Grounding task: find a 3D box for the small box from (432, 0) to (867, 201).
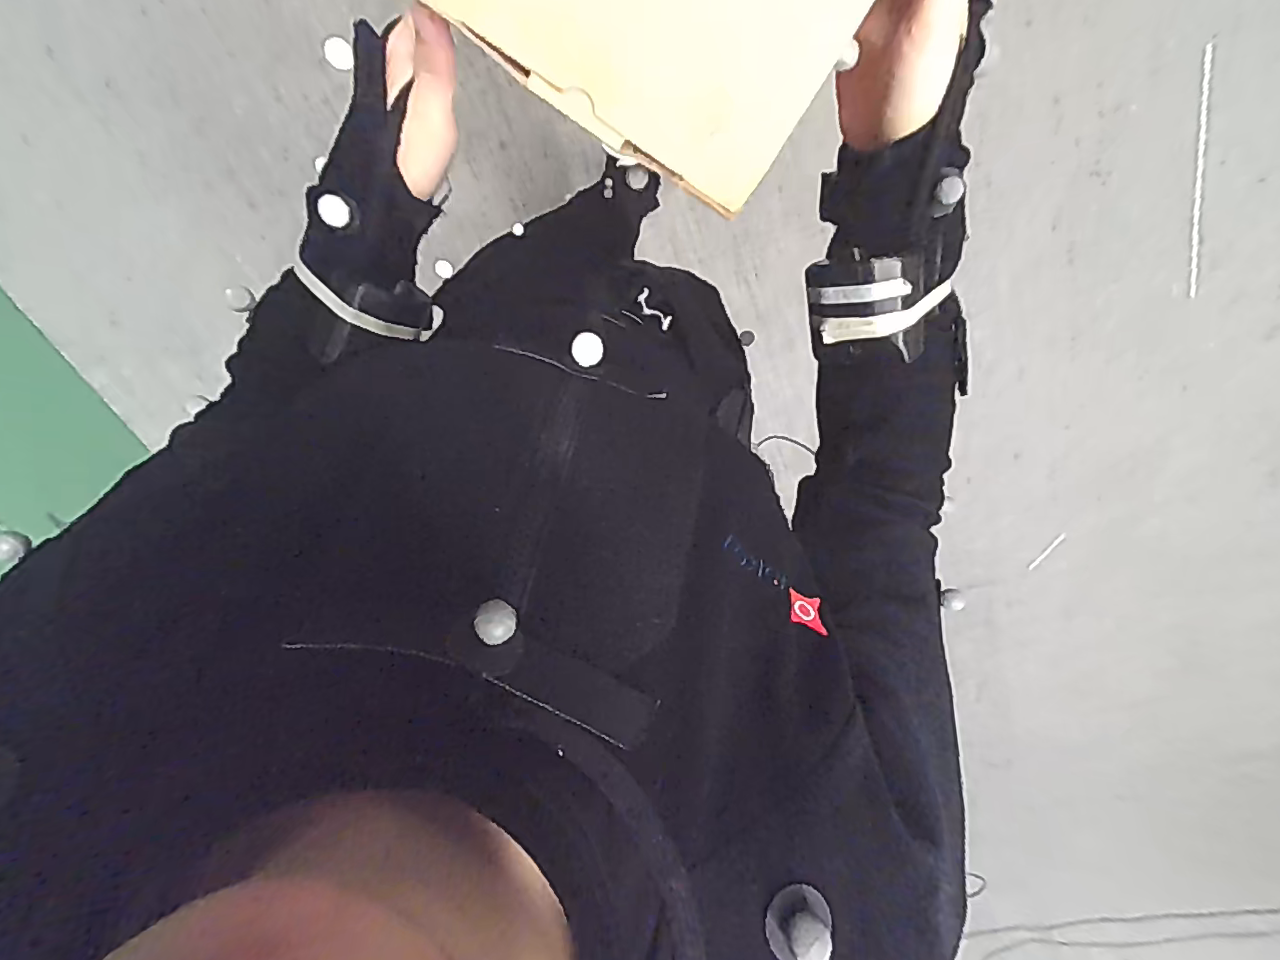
[{"bbox_3d":[0.018,-0.263,0.249,0.168,0.176,0.179,26,118,-16],"label":"small box"}]
